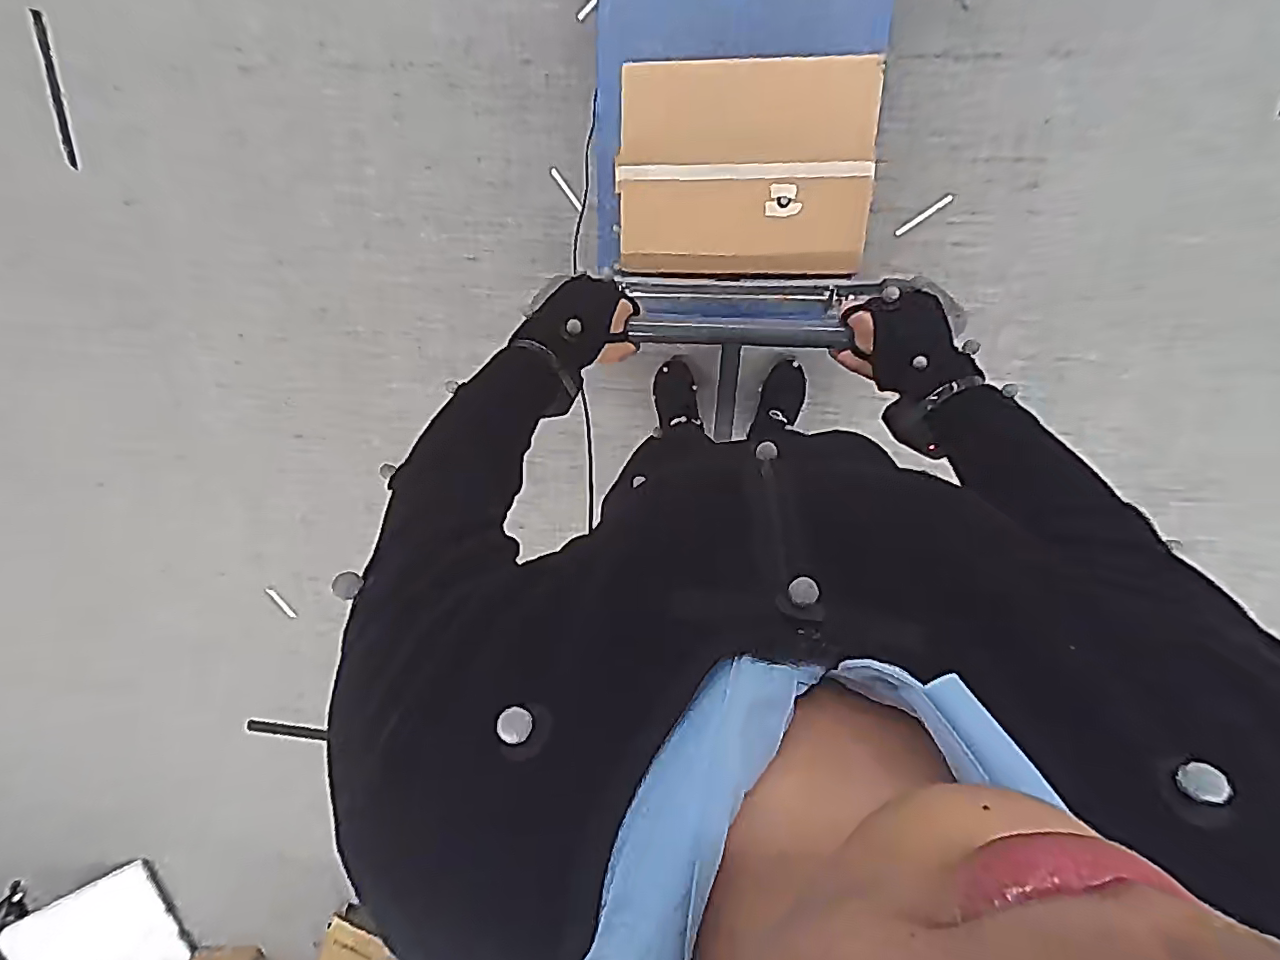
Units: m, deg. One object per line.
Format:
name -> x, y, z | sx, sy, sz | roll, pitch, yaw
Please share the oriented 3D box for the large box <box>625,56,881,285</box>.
large box -> 0.188, -0.548, 1.032 | 0.408, 0.320, 0.320 | 2, 107, 6
